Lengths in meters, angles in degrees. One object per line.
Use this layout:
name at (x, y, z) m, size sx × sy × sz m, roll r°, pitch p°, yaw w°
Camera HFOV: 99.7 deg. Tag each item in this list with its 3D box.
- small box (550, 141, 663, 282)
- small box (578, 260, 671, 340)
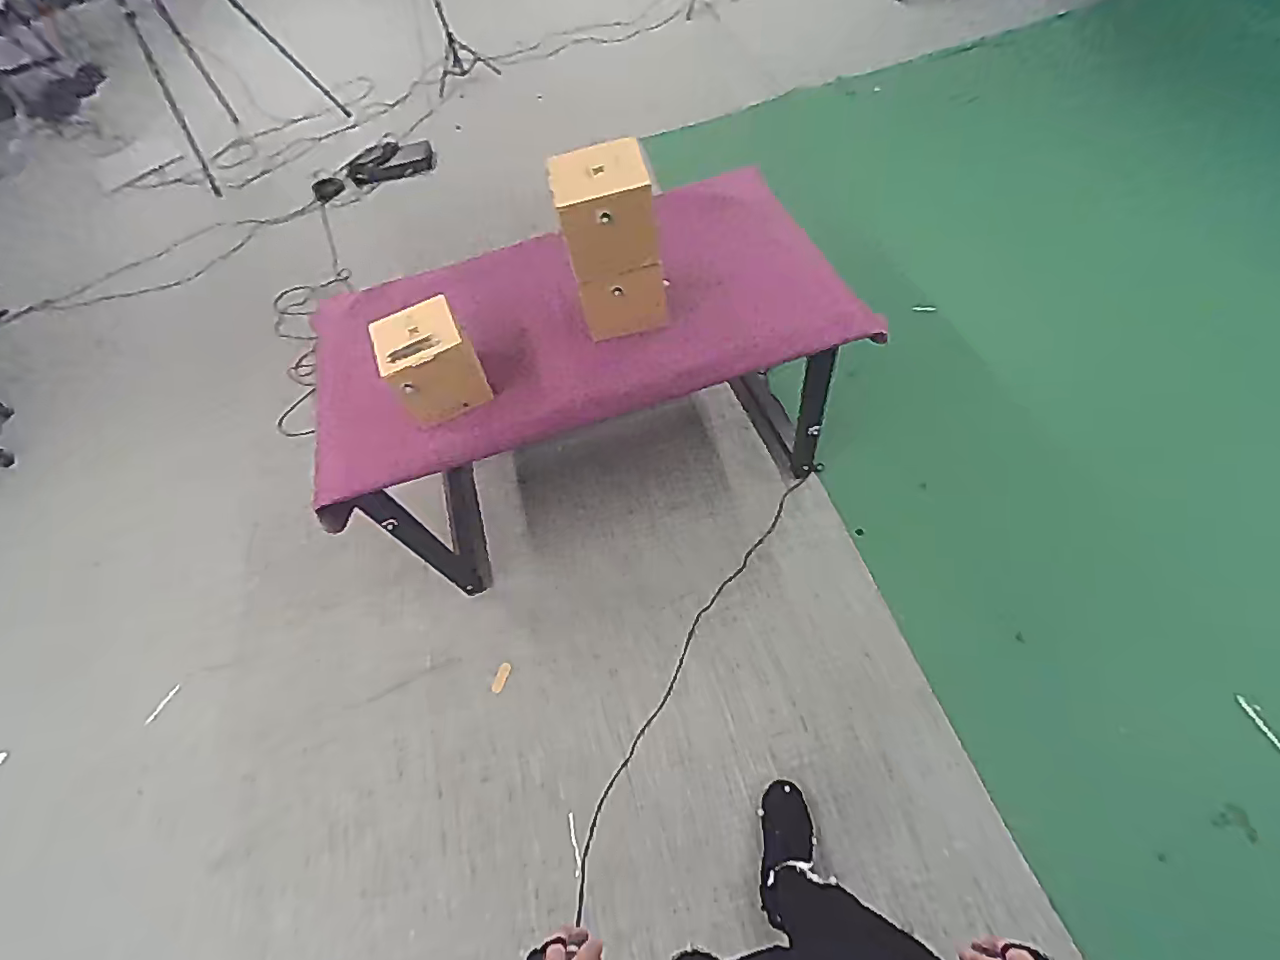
small box at (-0.062, -0.511, 1.046) m, size 0.179 × 0.176 × 0.168 m, roll -13°, pitch 59°, yaw 2°
small box at (-0.037, -0.432, 1.186) m, size 0.179 × 0.176 × 0.168 m, roll -12°, pitch 59°, yaw 2°
